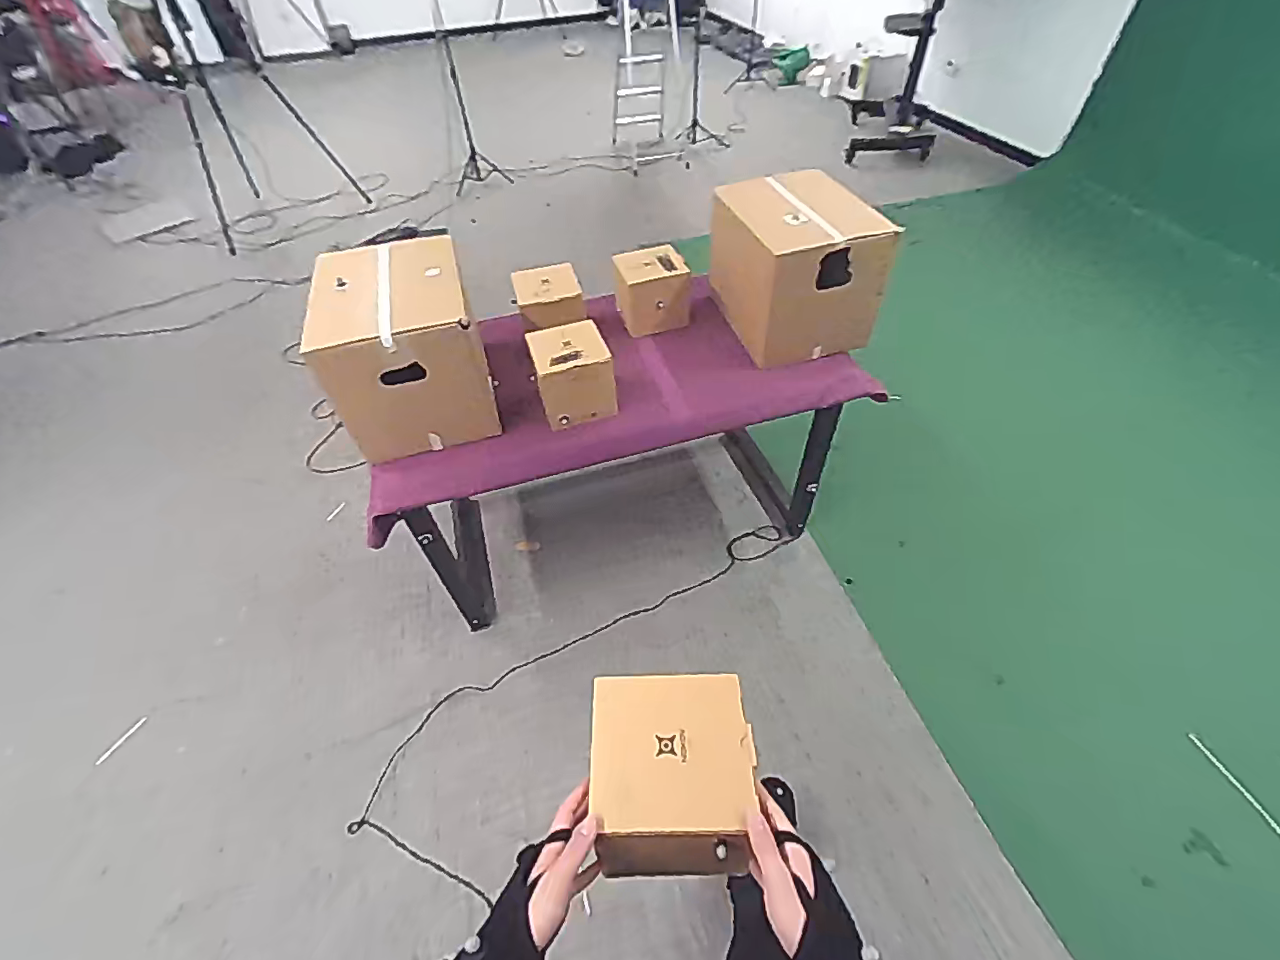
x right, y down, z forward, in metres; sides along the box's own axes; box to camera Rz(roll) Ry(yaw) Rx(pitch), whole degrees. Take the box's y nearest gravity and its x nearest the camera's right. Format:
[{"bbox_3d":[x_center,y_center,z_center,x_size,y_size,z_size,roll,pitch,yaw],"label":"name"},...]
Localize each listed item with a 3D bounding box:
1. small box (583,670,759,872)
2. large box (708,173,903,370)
[{"bbox_3d":[0.032,0.345,0.639,0.179,0.176,0.168,-2,41,0],"label":"small box"},{"bbox_3d":[0.398,-0.554,1.426,0.320,0.320,0.408,-14,50,-7],"label":"large box"}]
